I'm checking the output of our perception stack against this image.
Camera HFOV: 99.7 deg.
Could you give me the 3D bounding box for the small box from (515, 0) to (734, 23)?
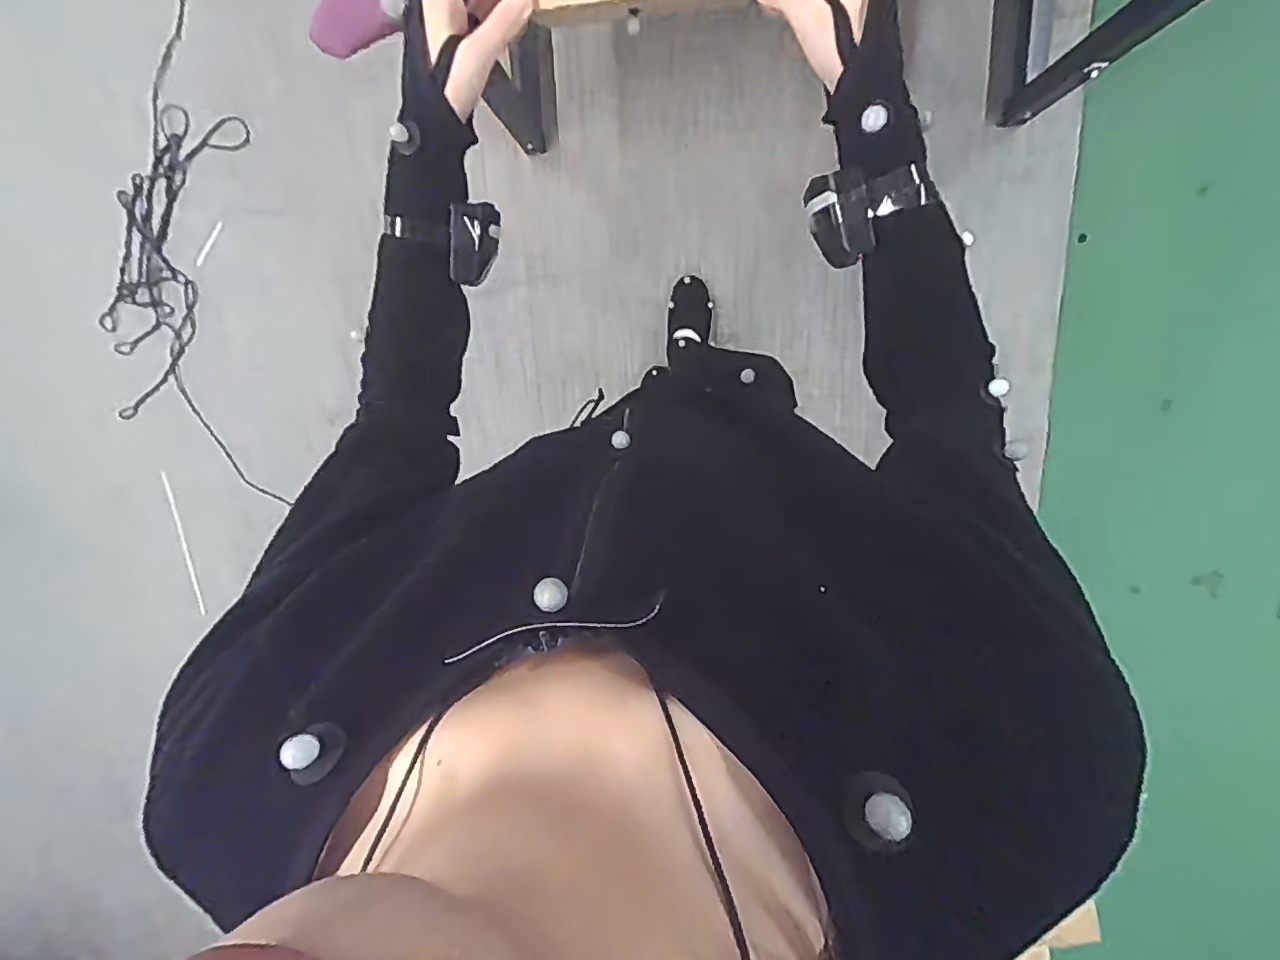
[{"bbox_3d":[-0.002,-0.436,0.375,0.179,0.176,0.168,-3,127,5],"label":"small box"}]
